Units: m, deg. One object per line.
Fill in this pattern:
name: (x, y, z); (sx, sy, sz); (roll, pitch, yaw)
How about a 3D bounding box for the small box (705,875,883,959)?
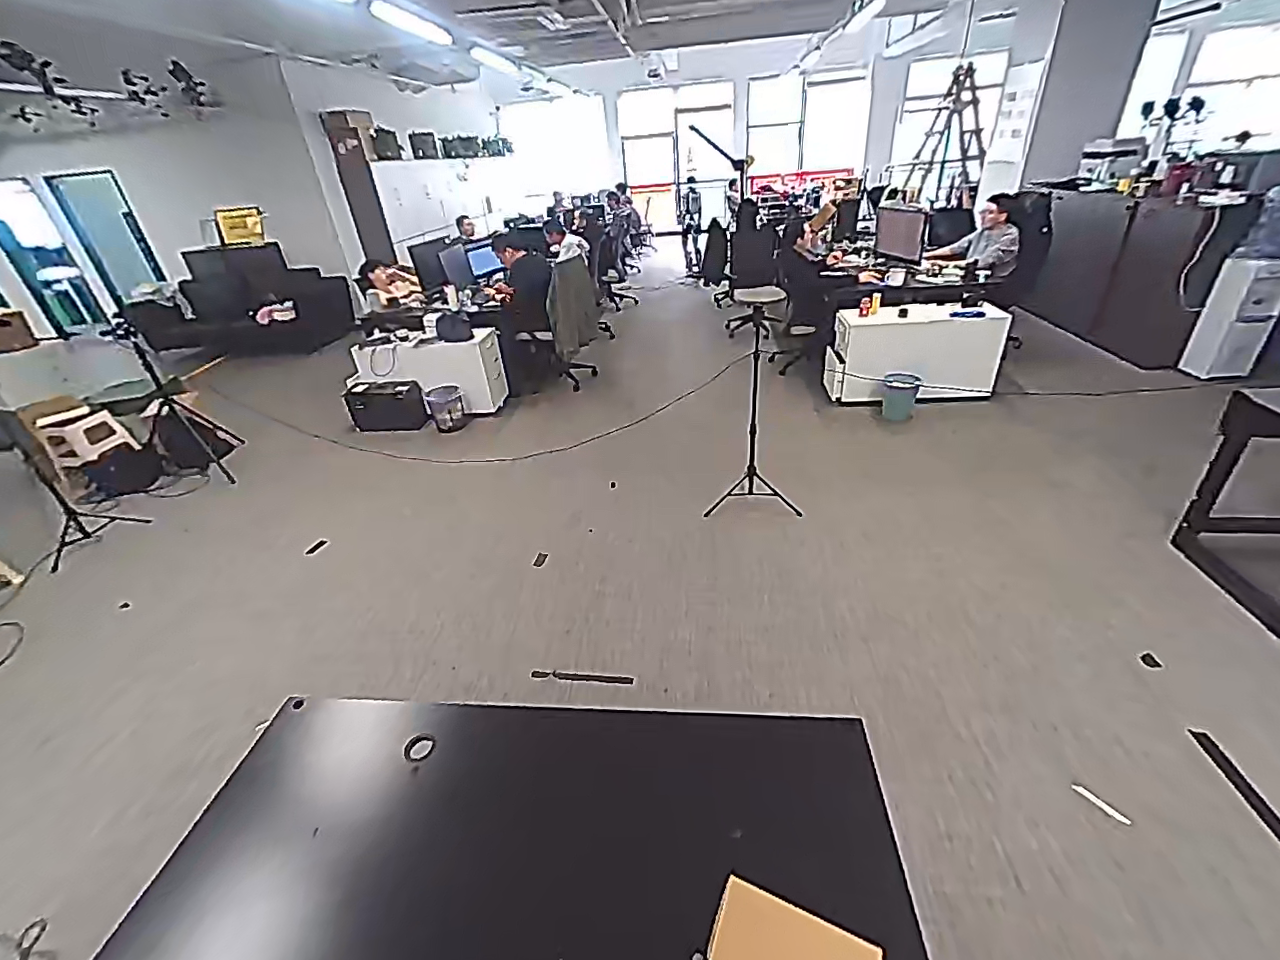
small box: (0.140, 0.573, 0.564); (0.168, 0.176, 0.179); (15, 39, 19)
